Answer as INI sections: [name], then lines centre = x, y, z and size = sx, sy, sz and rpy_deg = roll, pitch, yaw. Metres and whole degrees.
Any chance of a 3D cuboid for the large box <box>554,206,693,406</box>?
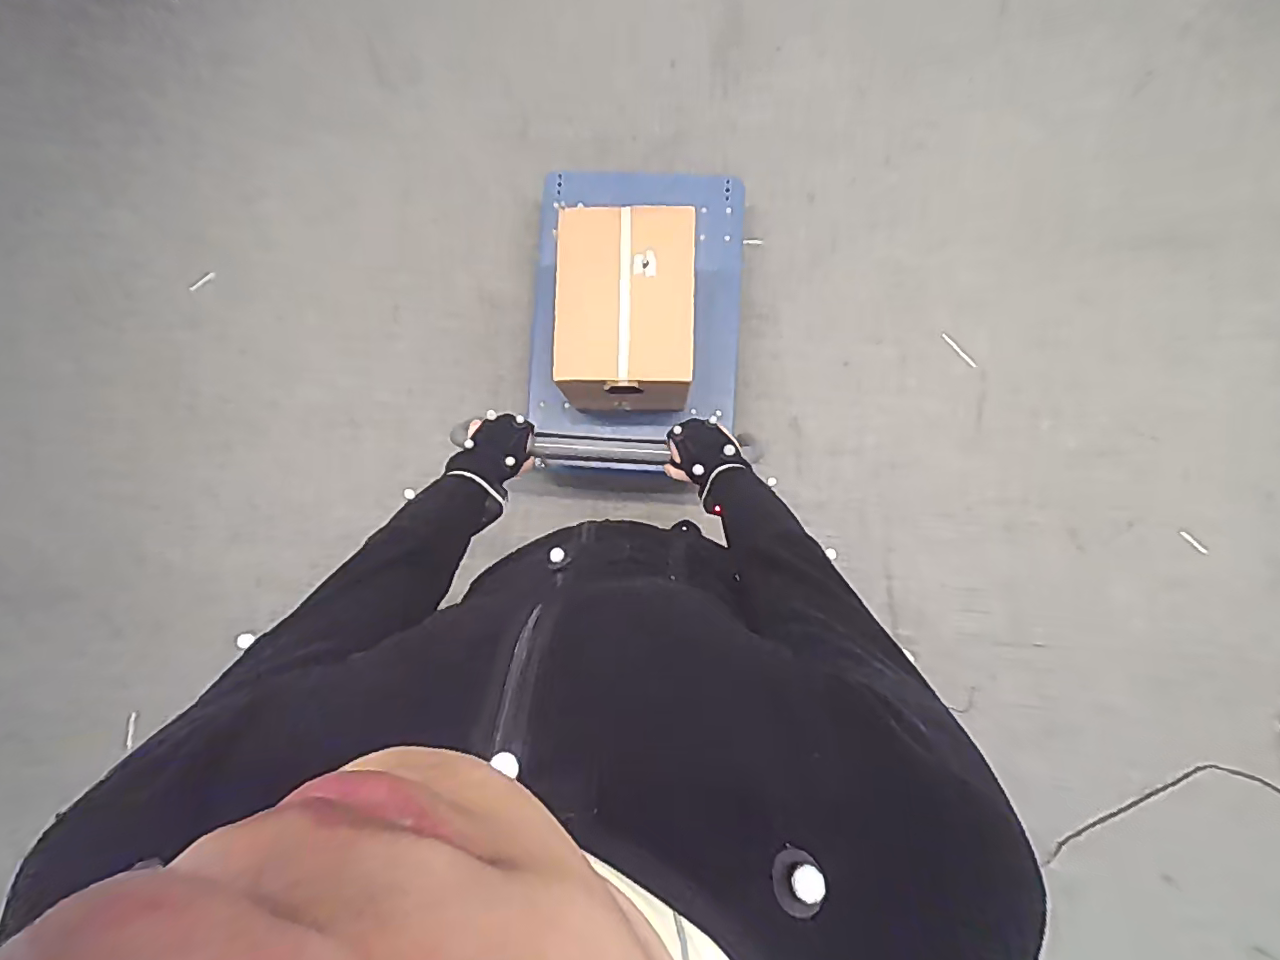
[large box]
centre = -0.030, -0.415, 1.368
size = 0.320, 0.320, 0.408
rpy_deg = 1, 86, 2
